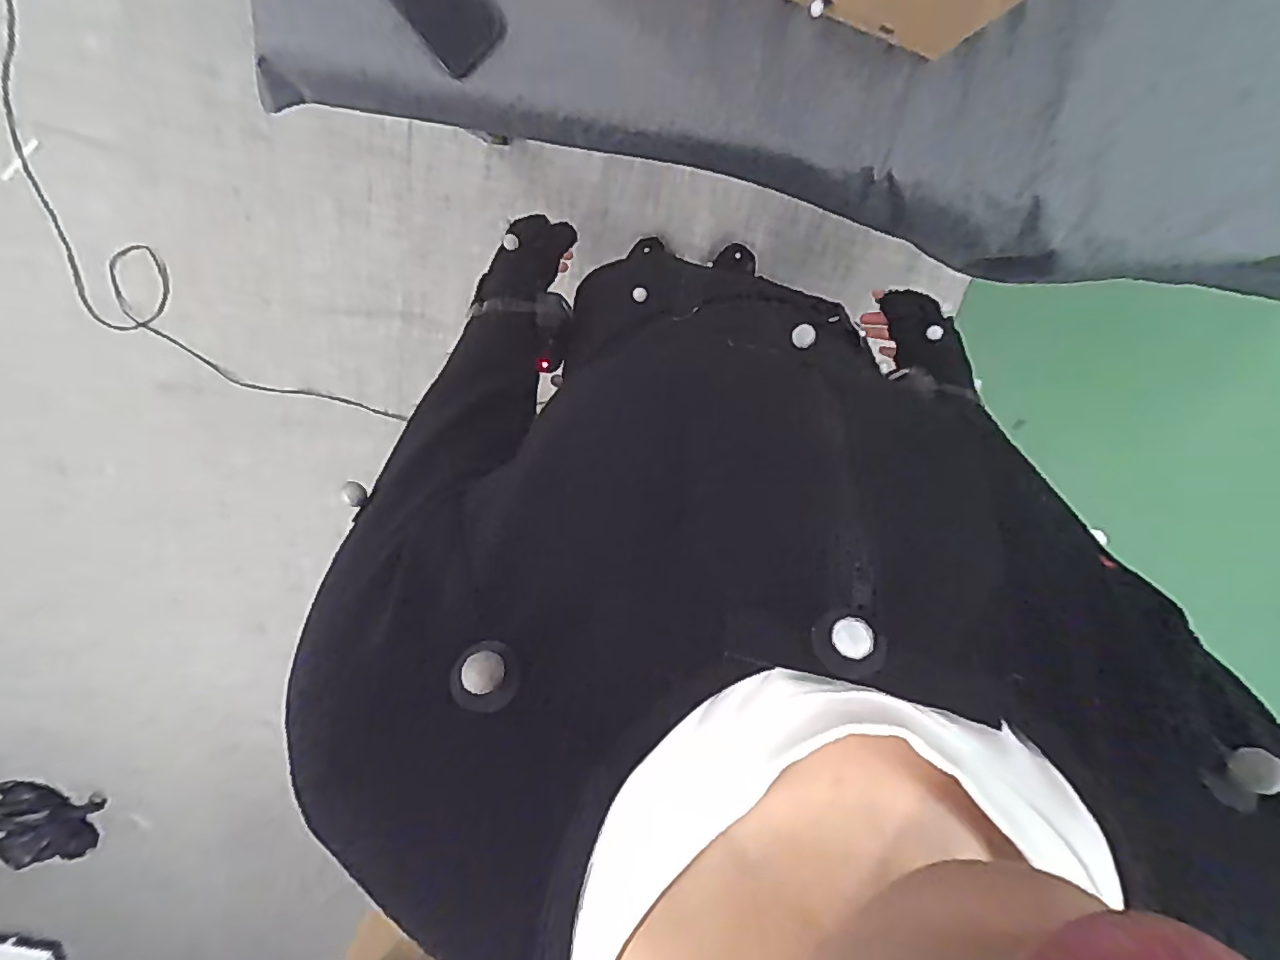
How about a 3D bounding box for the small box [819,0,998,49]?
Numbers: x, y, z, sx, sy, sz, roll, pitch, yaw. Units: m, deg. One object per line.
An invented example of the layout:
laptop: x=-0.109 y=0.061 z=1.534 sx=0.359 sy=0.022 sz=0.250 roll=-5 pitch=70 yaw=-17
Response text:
small box: x=0.240 y=-0.484 z=0.421 sx=0.168 sy=0.176 sz=0.179 roll=18 pitch=112 yaw=-6
